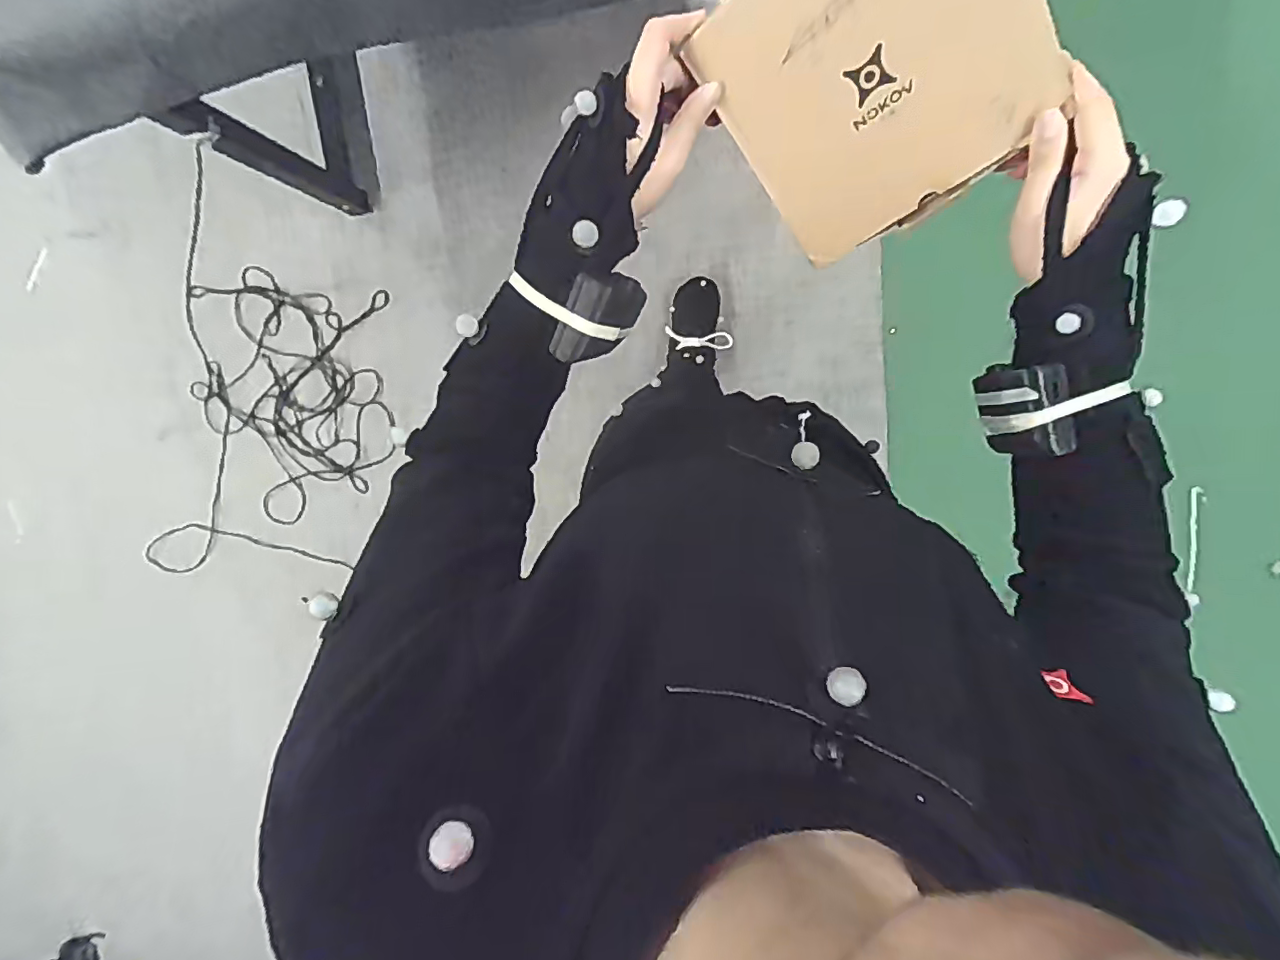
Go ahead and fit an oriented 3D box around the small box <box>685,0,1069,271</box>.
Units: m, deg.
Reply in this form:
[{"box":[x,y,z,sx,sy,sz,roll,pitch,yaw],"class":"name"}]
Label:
[{"box":[0.158,-0.294,0.380,0.168,0.176,0.179,-25,123,36],"class":"small box"}]
